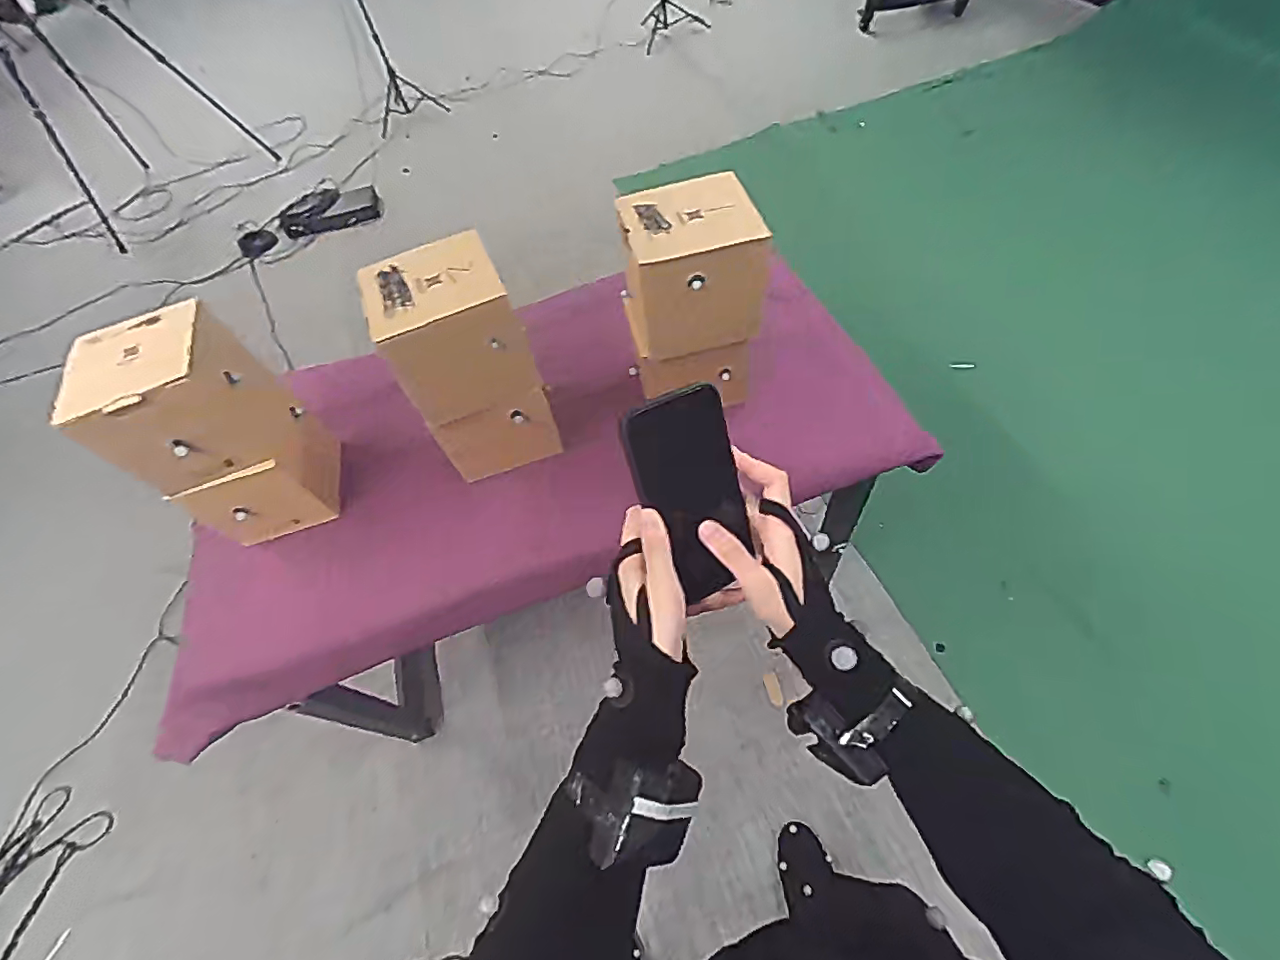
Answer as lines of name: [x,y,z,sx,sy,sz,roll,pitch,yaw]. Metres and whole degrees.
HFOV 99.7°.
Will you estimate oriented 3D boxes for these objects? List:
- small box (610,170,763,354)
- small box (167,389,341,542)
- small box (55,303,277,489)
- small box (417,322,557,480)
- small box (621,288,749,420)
small box: [0.067,-0.308,0.782,0.179,0.176,0.168,-14,56,-1]
small box: [-0.623,-0.014,0.898,0.168,0.176,0.179,-19,57,-3]
small box: [-0.648,-0.109,0.766,0.168,0.176,0.179,-23,58,-7]
small box: [-0.249,-0.128,0.911,0.179,0.176,0.168,-20,57,-3]
small box: [0.076,-0.229,0.926,0.179,0.176,0.168,-14,56,1]
